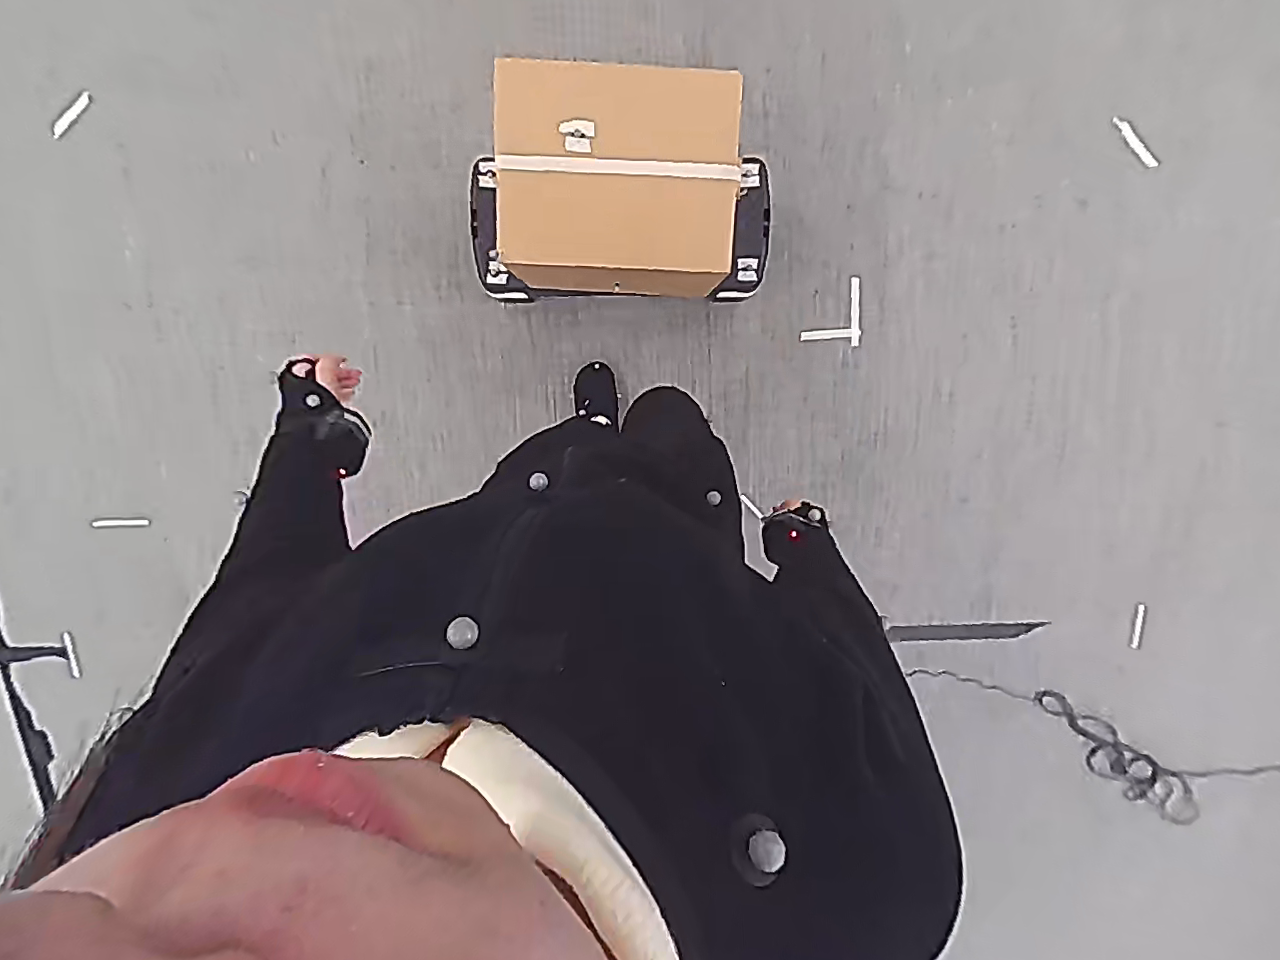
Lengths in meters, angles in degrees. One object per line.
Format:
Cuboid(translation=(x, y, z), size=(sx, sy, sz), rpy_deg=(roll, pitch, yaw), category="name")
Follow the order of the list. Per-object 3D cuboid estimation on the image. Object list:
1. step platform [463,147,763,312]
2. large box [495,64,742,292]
Cuboid(translation=(-0.060, -0.576, 1.273), size=(0.684, 0.204, 0.286), rpy_deg=(4, 101, -1), category="step platform")
Cuboid(translation=(-0.035, -0.540, 1.037), size=(0.408, 0.320, 0.320), rpy_deg=(2, 101, 0), category="large box")
